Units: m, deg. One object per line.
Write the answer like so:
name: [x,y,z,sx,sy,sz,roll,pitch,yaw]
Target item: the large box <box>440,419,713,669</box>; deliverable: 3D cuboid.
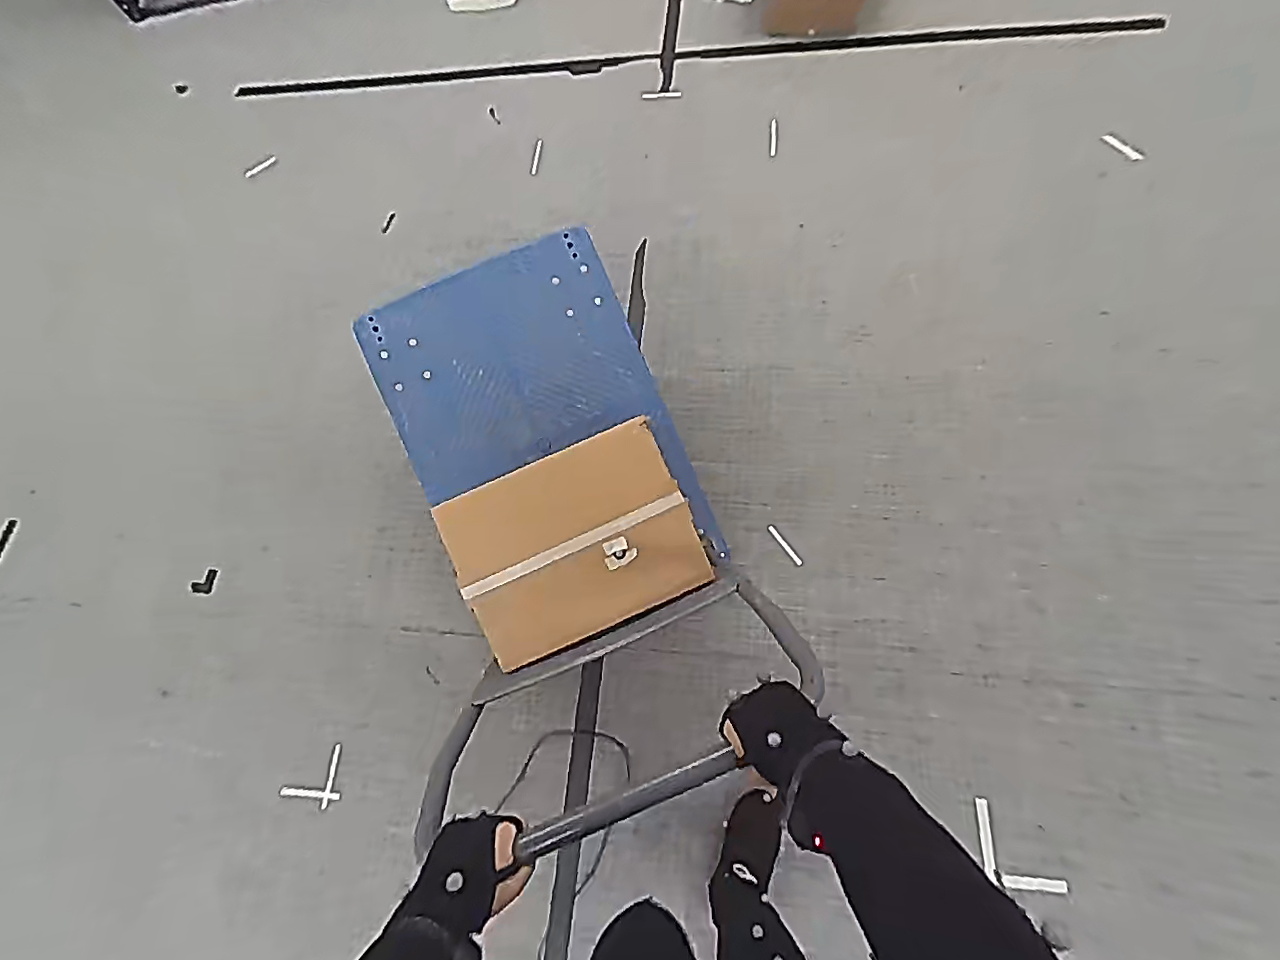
large box: [-0.118,0.115,1.100,0.408,0.320,0.320,-25,91,-3]
